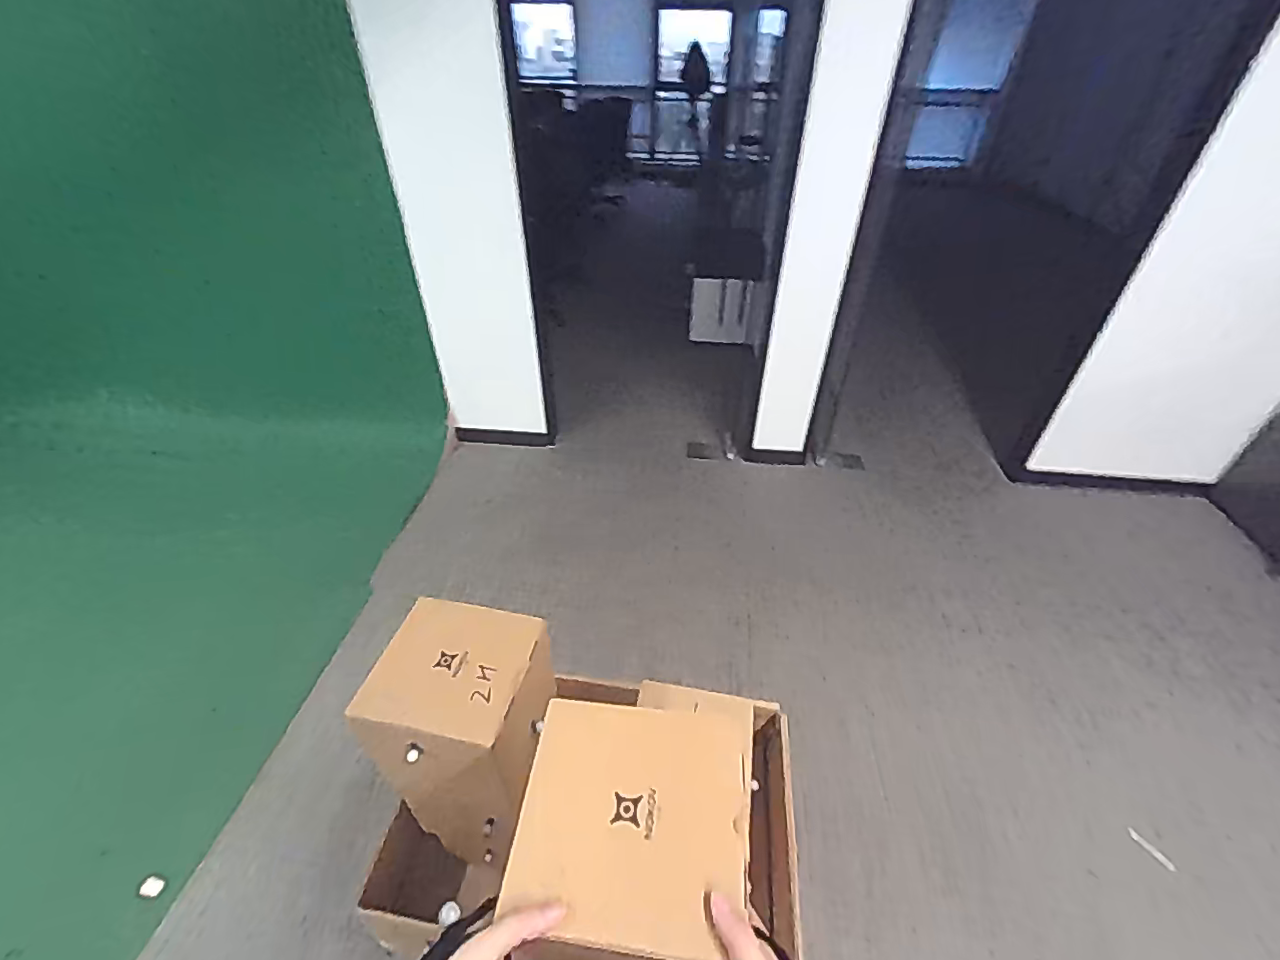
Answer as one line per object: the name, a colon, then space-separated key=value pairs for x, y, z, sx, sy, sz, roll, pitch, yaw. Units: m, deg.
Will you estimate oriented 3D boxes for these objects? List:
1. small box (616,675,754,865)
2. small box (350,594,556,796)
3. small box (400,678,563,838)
small box: x=0.068 y=0.415 z=0.775 sx=0.168 sy=0.176 sz=0.179 roll=7 pitch=39 yaw=9
small box: x=-0.220 y=0.274 z=0.691 sx=0.179 sy=0.176 sz=0.168 roll=9 pitch=41 yaw=9
small box: x=-0.217 y=0.397 z=0.800 sx=0.168 sy=0.176 sz=0.179 roll=6 pitch=39 yaw=7
